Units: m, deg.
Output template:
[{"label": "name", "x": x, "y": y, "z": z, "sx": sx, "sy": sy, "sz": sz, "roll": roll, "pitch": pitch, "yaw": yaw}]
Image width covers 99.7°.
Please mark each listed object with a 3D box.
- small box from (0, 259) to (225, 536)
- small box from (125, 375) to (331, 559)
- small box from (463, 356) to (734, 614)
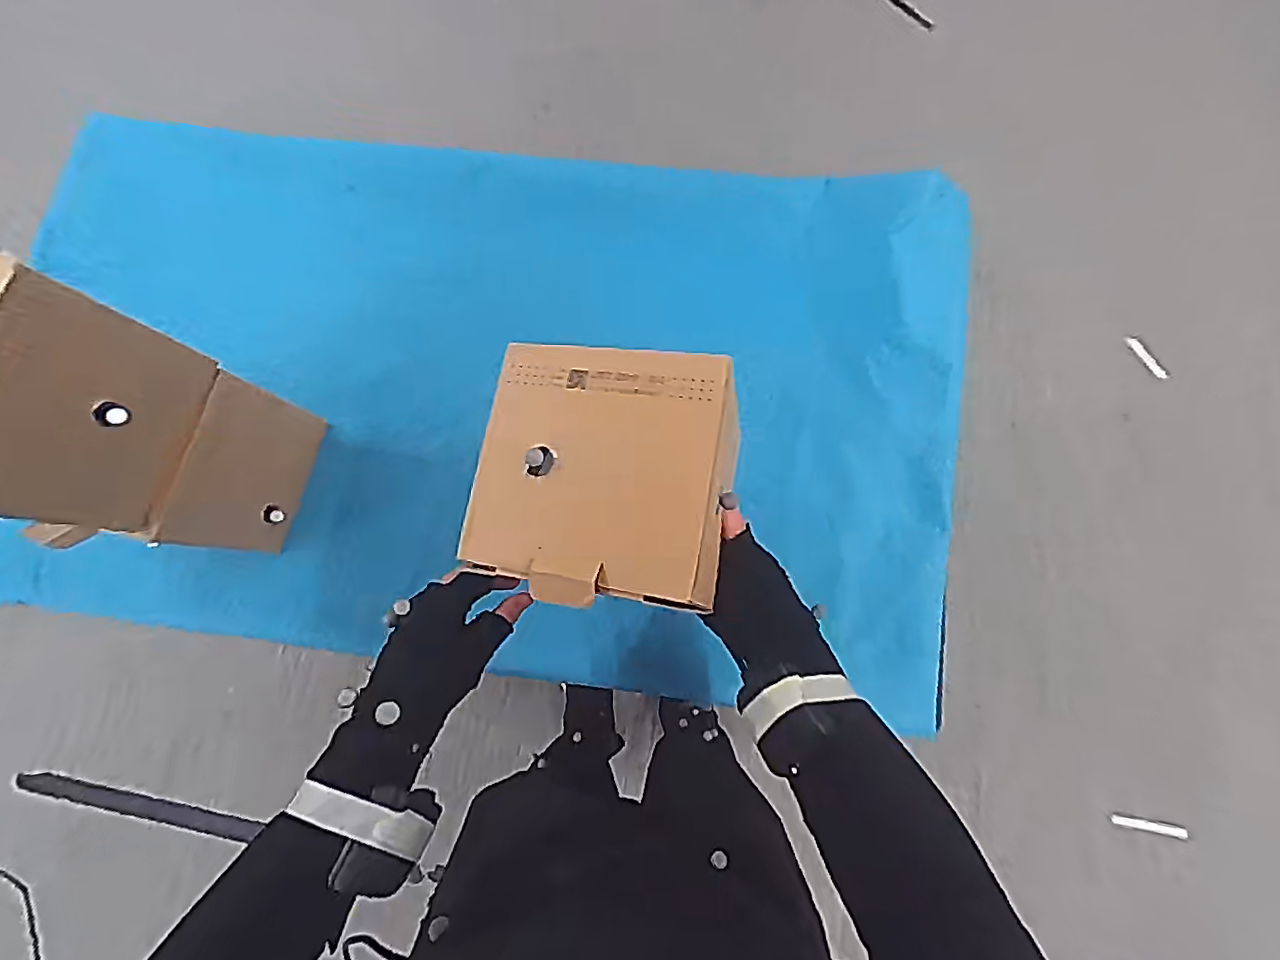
[{"label": "small box", "x": -0.509, "y": -0.067, "z": 0.441, "sx": 0.168, "sy": 0.176, "sz": 0.179, "roll": 16, "pitch": 81, "yaw": 7}, {"label": "small box", "x": -0.494, "y": -0.020, "z": 0.599, "sx": 0.168, "sy": 0.176, "sz": 0.179, "roll": 13, "pitch": 79, "yaw": 6}, {"label": "small box", "x": -0.016, "y": 0.011, "z": 0.451, "sx": 0.168, "sy": 0.179, "sz": 0.176, "roll": 8, "pitch": 77, "yaw": 14}]
